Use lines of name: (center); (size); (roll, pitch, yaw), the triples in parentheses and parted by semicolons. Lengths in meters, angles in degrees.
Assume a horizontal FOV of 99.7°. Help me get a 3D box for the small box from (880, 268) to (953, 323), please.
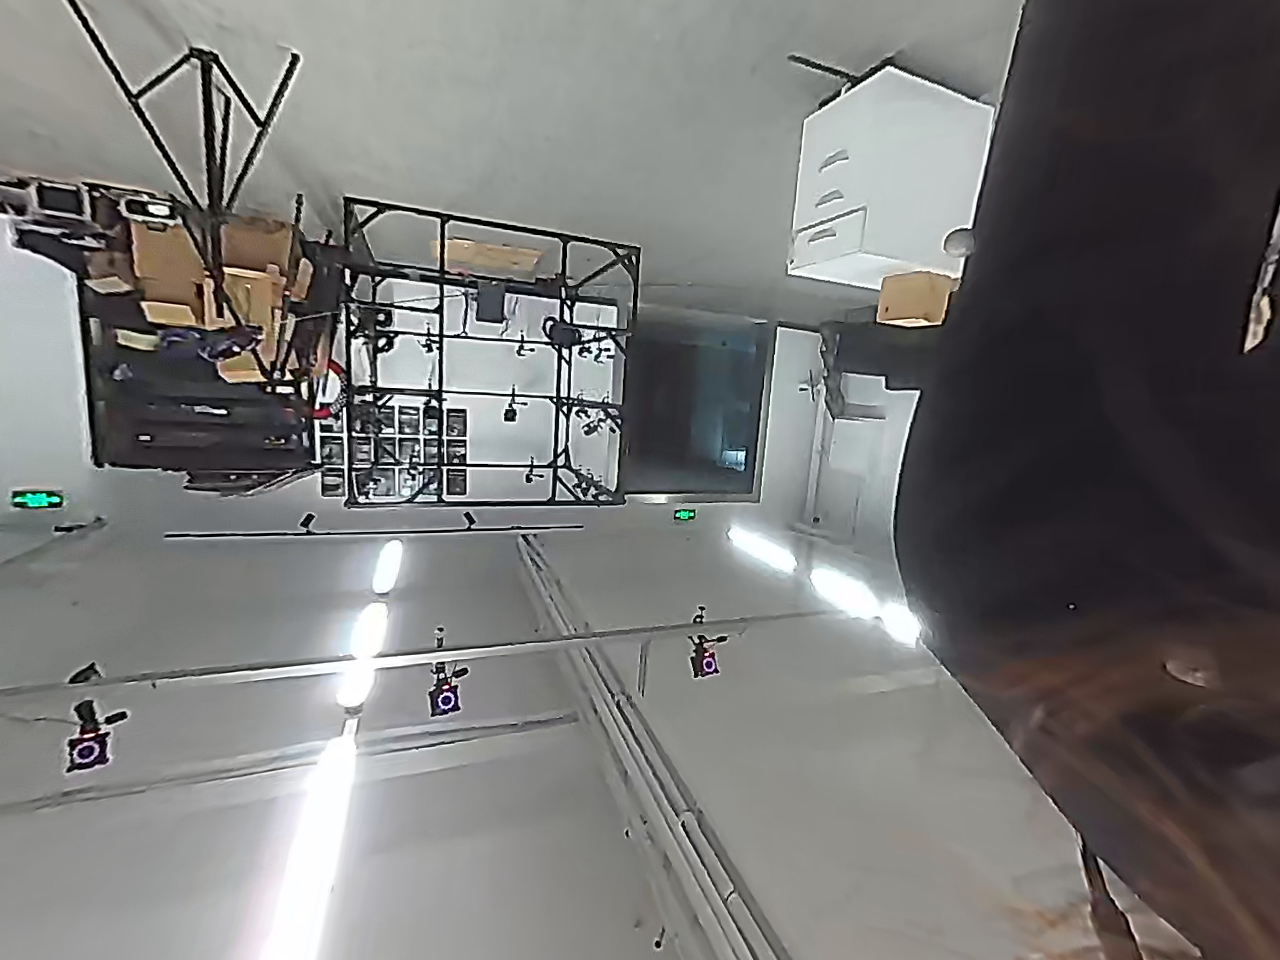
small box: (1.049, -0.695, 2.047); (0.168, 0.176, 0.179); (0, -169, -21)
